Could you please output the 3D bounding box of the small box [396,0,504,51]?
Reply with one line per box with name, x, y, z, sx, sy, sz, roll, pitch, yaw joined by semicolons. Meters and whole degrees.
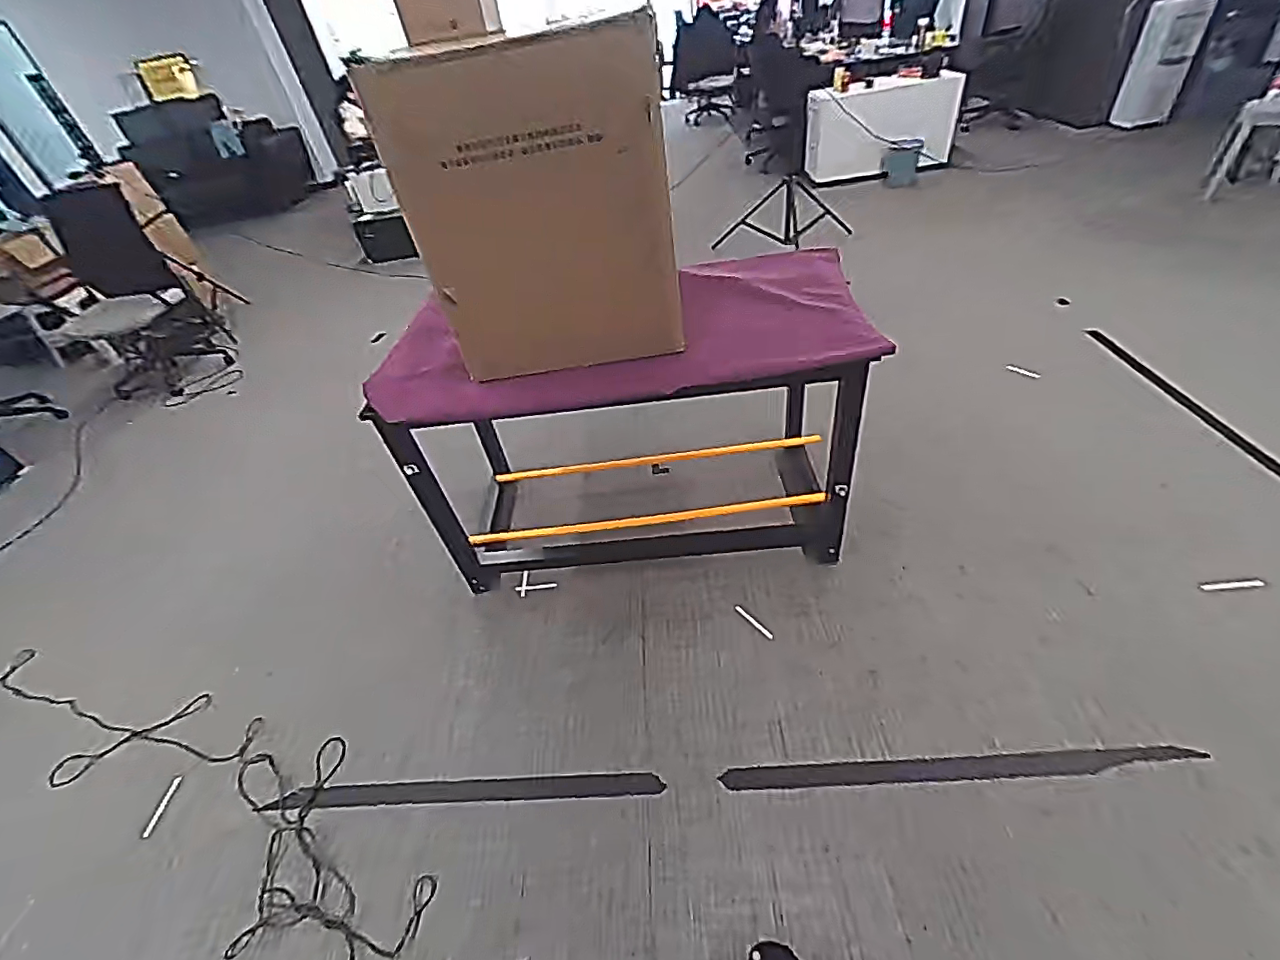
small box;-0.381;-0.969;1.069;0.168;0.176;0.179;-4;42;5
